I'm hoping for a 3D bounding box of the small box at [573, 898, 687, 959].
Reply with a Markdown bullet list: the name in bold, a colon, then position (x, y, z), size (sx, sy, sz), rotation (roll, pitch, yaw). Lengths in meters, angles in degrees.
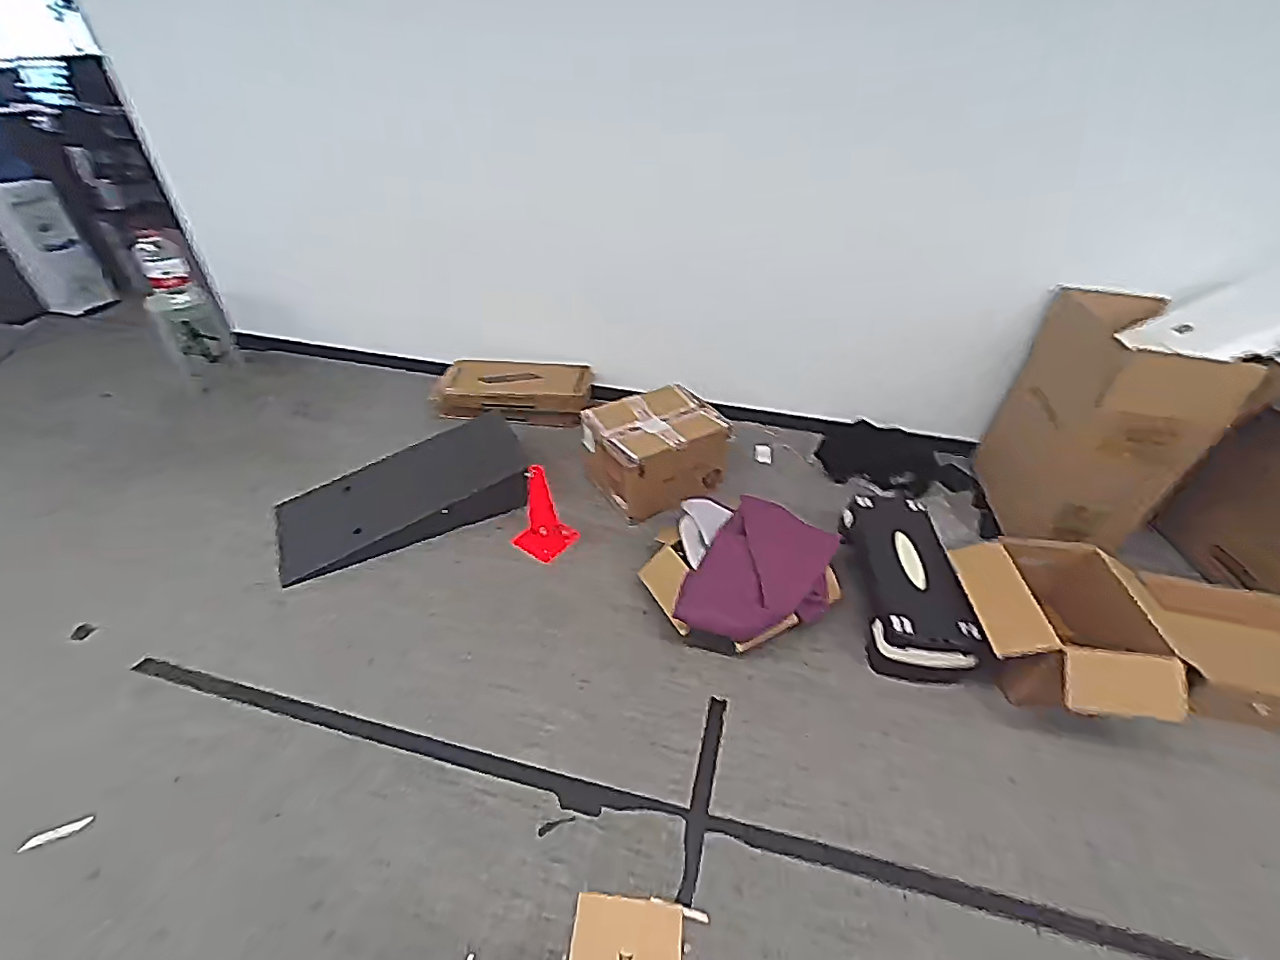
- **small box**: position (-0.020, 0.774, 0.819), size (0.168, 0.176, 0.179), rotation (4, 39, 5)
